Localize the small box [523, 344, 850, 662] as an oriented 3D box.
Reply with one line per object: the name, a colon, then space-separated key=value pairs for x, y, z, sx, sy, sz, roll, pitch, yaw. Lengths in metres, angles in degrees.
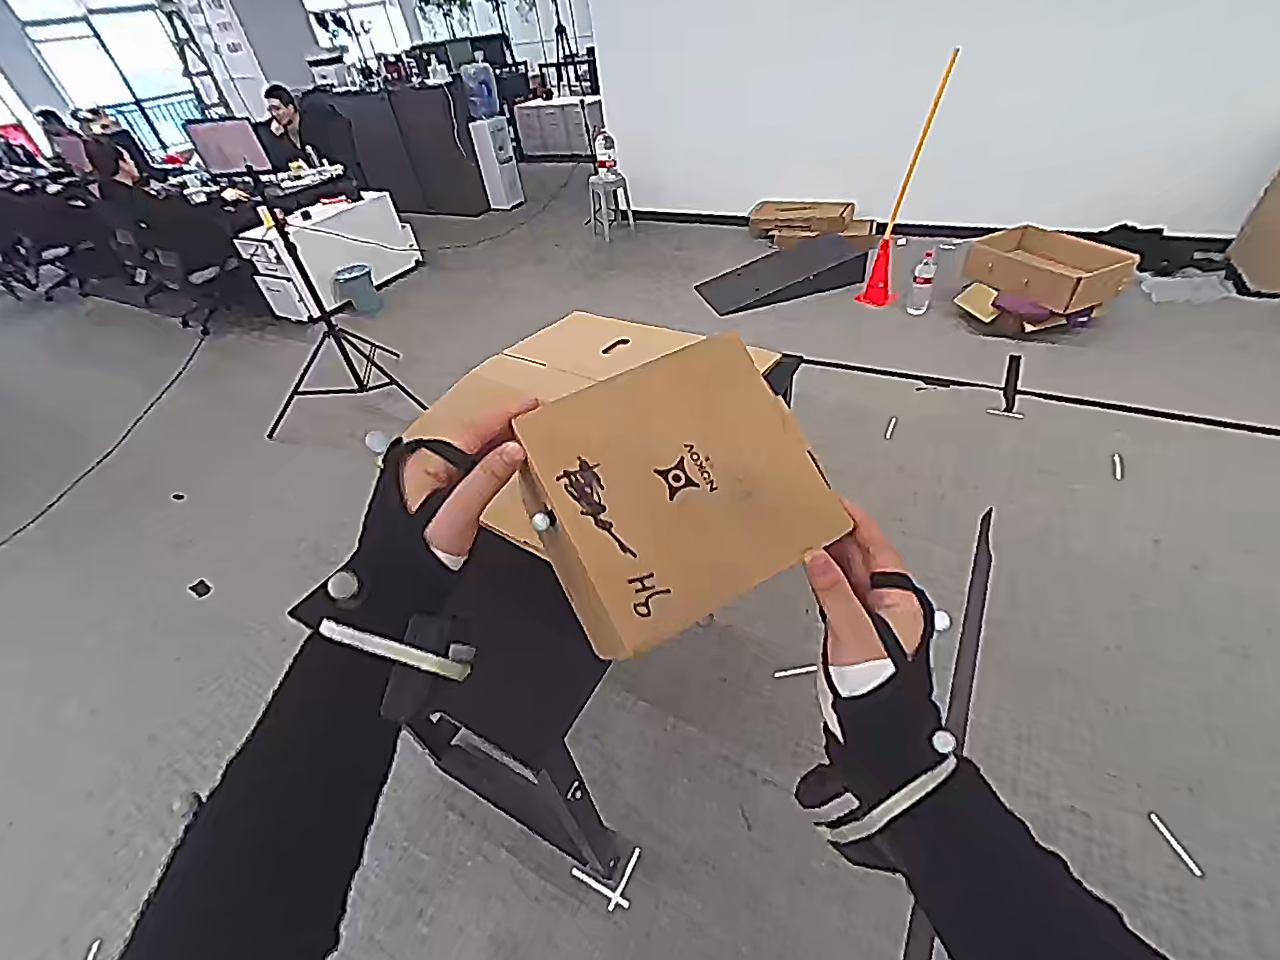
small box: x=0.018 y=0.027 z=0.430 sx=0.179 sy=0.176 sz=0.168 roll=-26 pitch=78 yaw=-18
